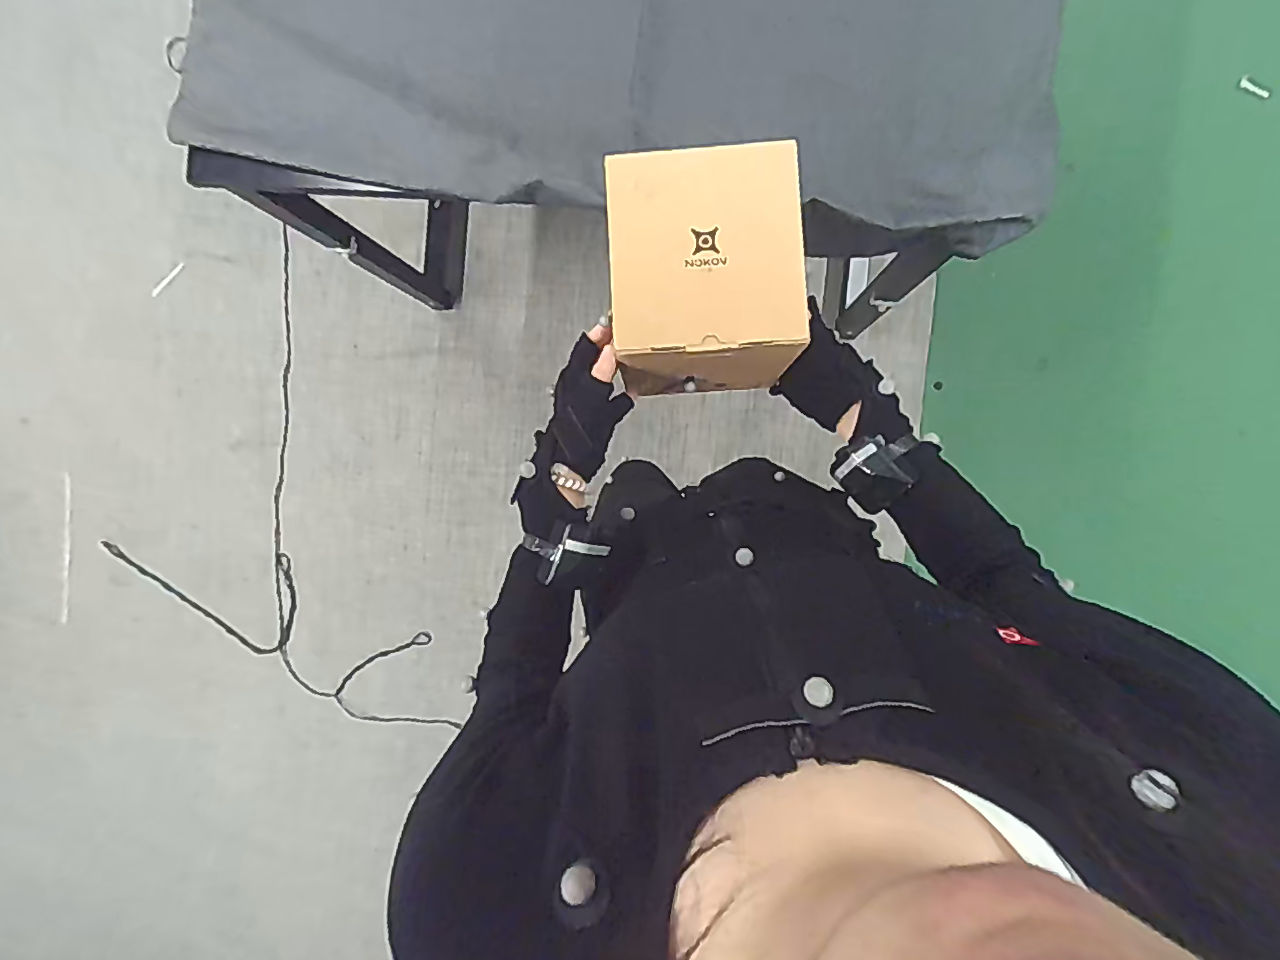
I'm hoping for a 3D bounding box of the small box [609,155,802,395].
[{"bbox_3d":[0.058,-0.193,0.553,0.168,0.176,0.179,-3,88,2],"label":"small box"}]
